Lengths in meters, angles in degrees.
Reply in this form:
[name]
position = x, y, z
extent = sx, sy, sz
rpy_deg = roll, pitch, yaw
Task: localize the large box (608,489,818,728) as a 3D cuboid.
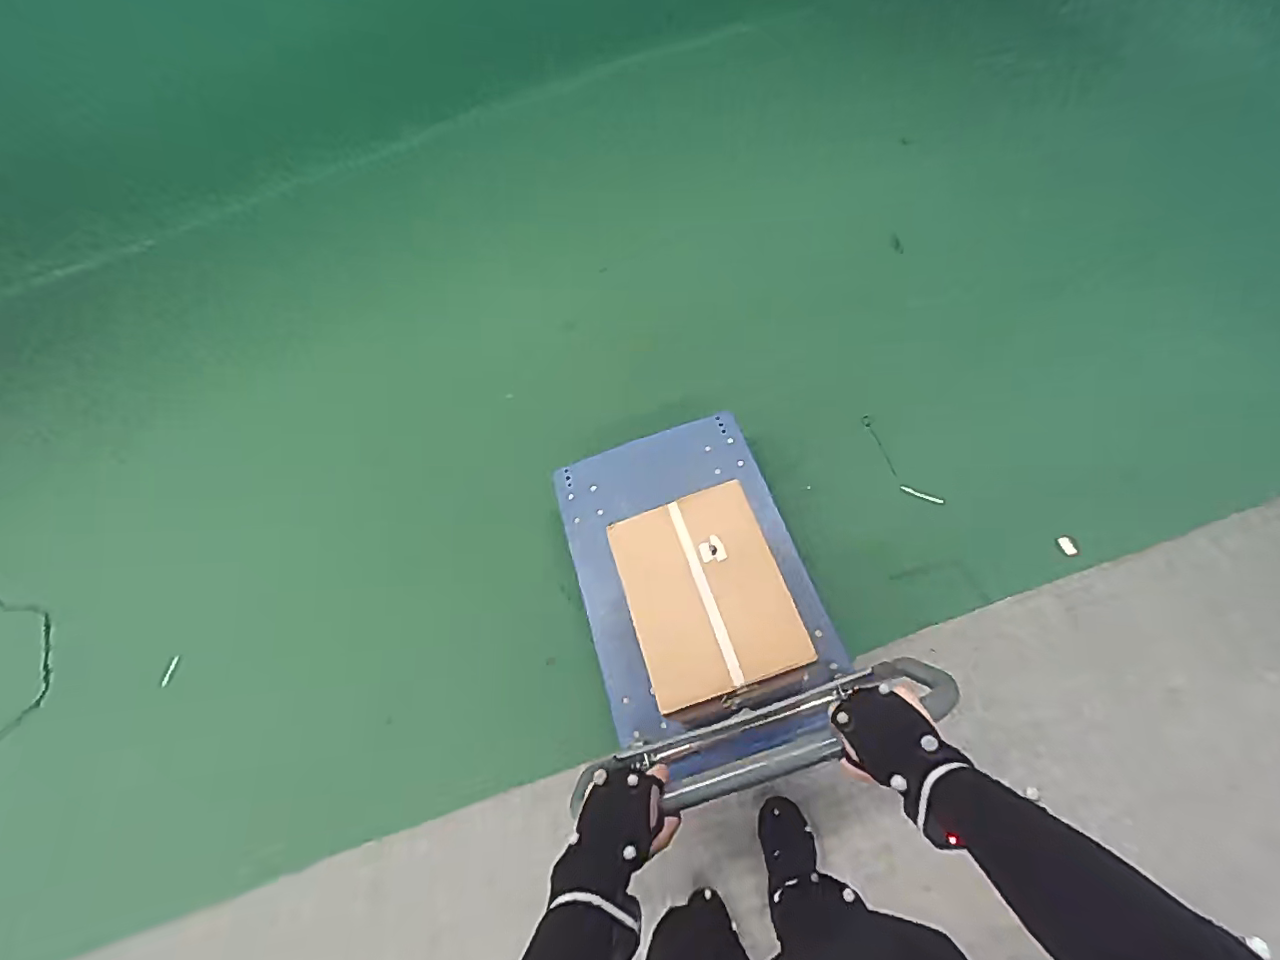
[large box]
position = 0.158, 0.300, 1.224
extent = 0.320, 0.320, 0.408
rpy_deg = -20, 61, 1
